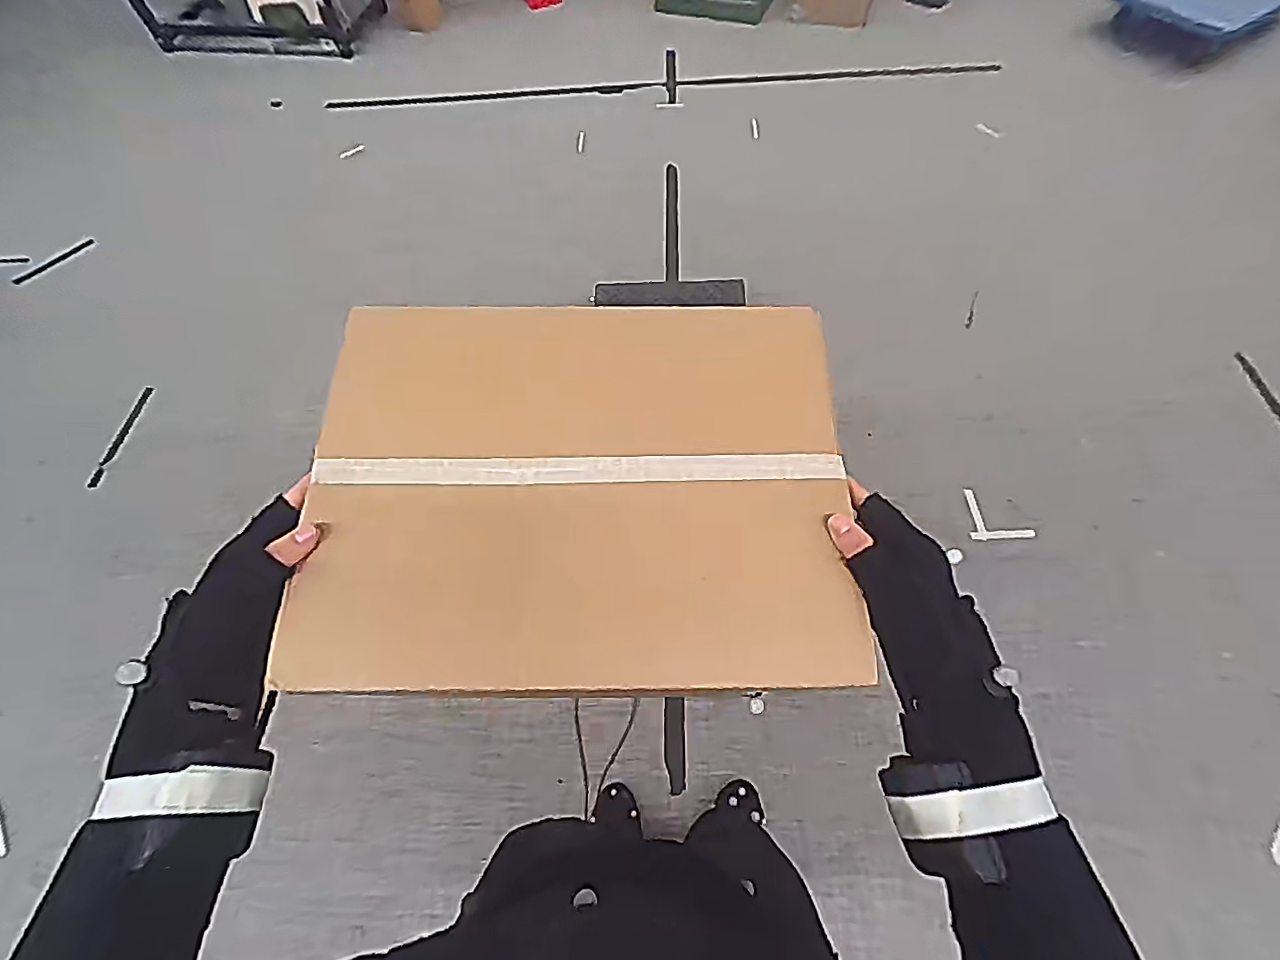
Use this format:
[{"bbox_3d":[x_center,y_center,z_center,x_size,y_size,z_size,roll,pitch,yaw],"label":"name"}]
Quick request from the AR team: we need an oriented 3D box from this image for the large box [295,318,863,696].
[{"bbox_3d":[-0.043,0.055,0.566,0.408,0.320,0.320,0,67,0],"label":"large box"}]
